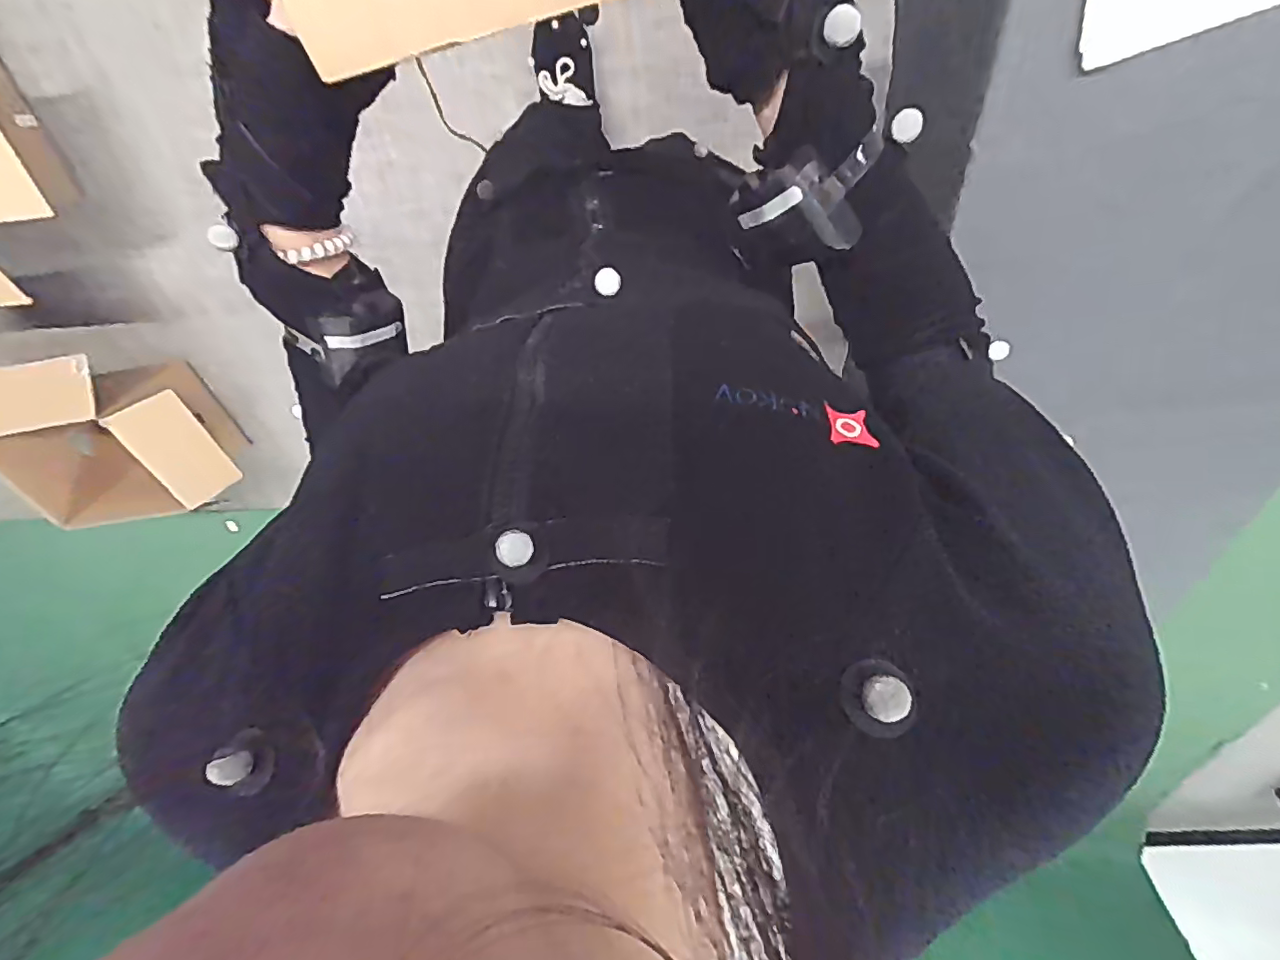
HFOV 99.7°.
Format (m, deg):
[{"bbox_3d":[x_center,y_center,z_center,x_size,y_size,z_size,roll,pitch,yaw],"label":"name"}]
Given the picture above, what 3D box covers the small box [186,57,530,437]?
[{"bbox_3d":[-0.207,-0.140,0.389,0.168,0.176,0.179,7,99,-45],"label":"small box"}]
